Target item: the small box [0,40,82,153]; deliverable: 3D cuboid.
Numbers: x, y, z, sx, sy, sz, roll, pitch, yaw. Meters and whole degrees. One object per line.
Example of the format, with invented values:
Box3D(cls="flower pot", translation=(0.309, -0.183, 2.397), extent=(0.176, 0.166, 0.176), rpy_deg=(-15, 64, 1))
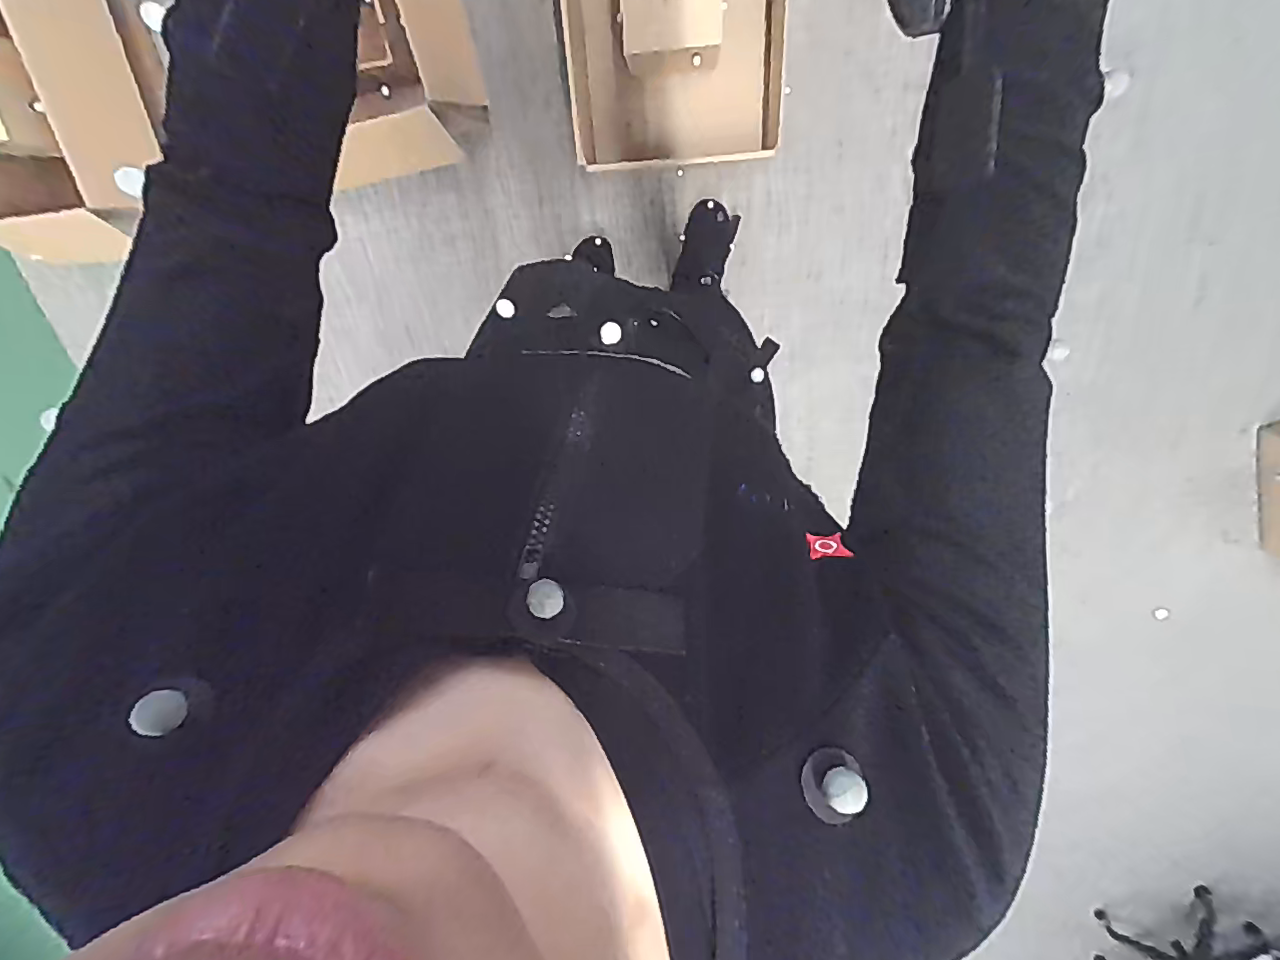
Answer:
Box3D(cls="small box", translation=(-1.213, -0.715, 1.006), extent=(0.179, 0.176, 0.168), rpy_deg=(-1, 115, 3))
